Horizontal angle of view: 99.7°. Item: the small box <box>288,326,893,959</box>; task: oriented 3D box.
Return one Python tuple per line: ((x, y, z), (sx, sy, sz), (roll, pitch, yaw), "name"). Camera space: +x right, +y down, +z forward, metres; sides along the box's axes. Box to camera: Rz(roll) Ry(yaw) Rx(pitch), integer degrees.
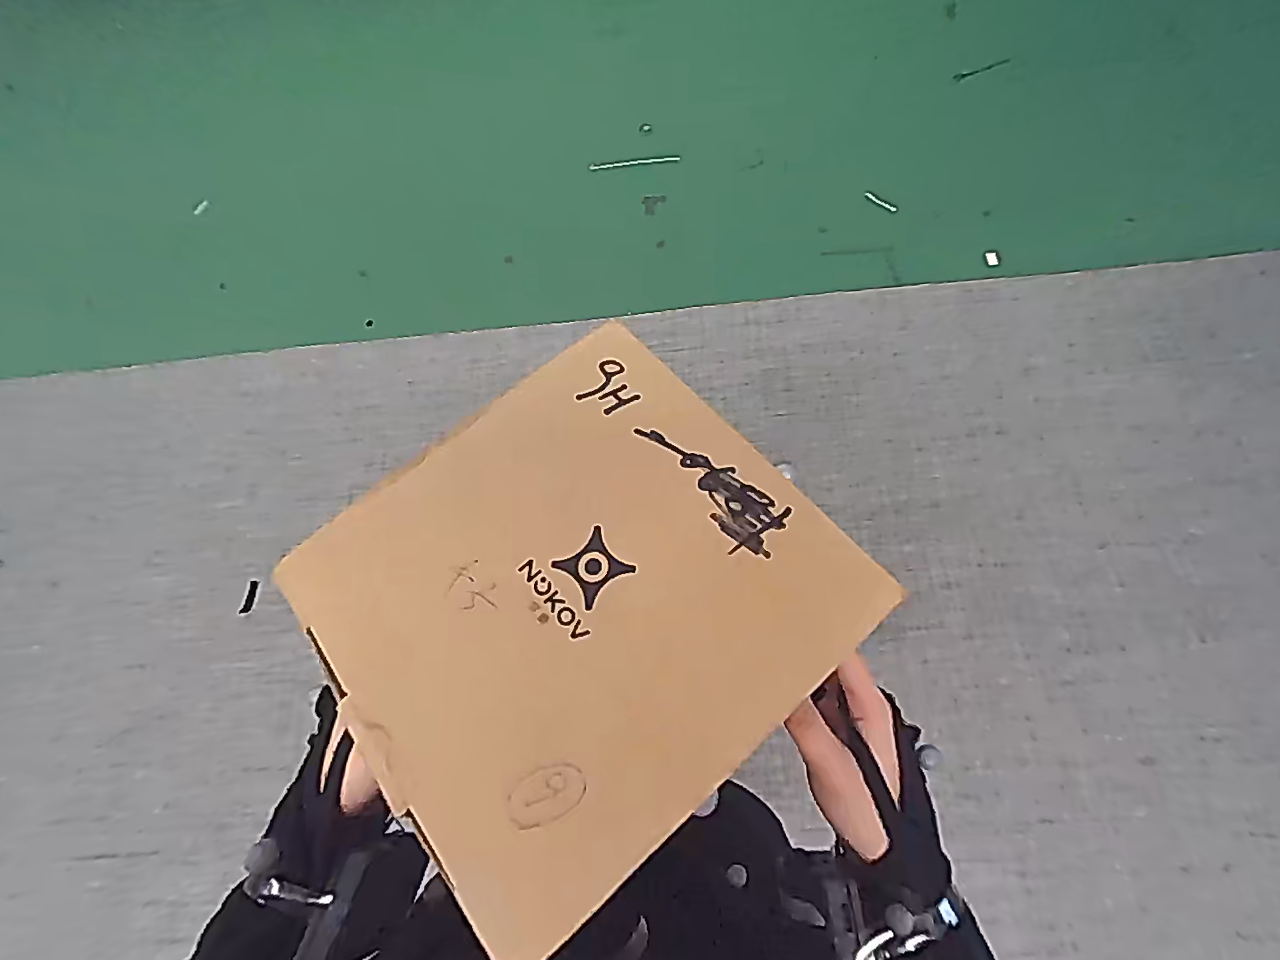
((-0.017, 0.068, 0.275), (0.179, 0.176, 0.168), (-40, 70, -11), "small box")
